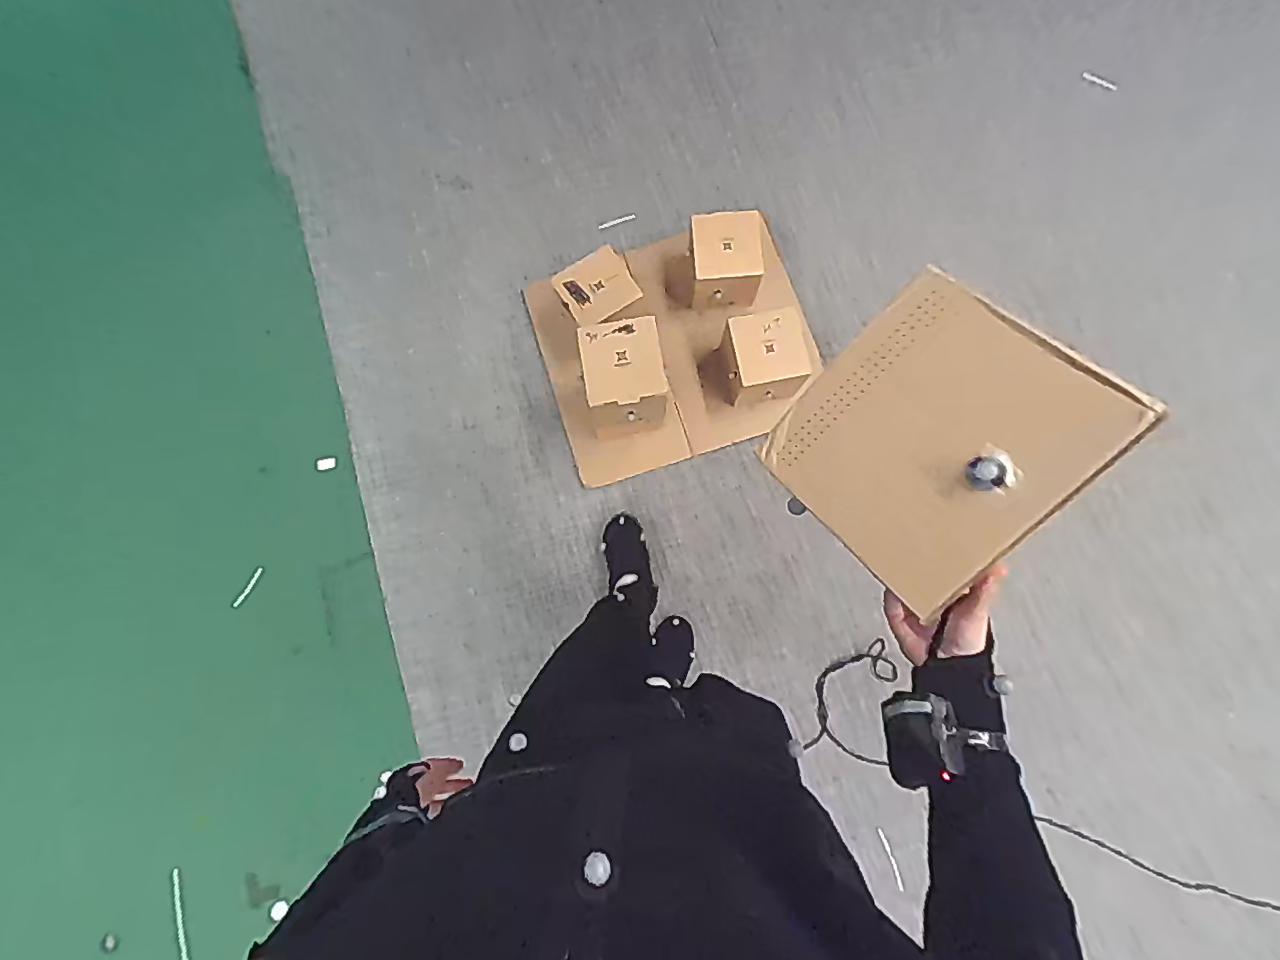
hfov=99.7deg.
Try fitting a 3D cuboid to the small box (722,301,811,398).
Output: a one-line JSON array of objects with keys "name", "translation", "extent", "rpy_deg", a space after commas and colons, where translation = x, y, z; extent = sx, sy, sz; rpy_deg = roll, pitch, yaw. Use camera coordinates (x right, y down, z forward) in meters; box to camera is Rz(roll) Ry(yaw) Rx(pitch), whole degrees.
[{"name": "small box", "translation": [0.305, -0.313, 1.337], "extent": [0.168, 0.176, 0.179], "rpy_deg": [-11, 80, 0]}]

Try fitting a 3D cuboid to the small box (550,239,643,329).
[{"name": "small box", "translation": [-0.103, -0.467, 1.384], "extent": [0.179, 0.176, 0.168], "rpy_deg": [-32, 81, -4]}]

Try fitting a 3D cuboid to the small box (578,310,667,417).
[{"name": "small box", "translation": [-0.034, -0.243, 1.179], "extent": [0.168, 0.176, 0.179], "rpy_deg": [-9, 81, 0]}]

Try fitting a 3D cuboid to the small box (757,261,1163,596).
[{"name": "small box", "translation": [0.225, -0.032, 0.421], "extent": [0.179, 0.168, 0.176], "rpy_deg": [-48, 60, 15]}]
